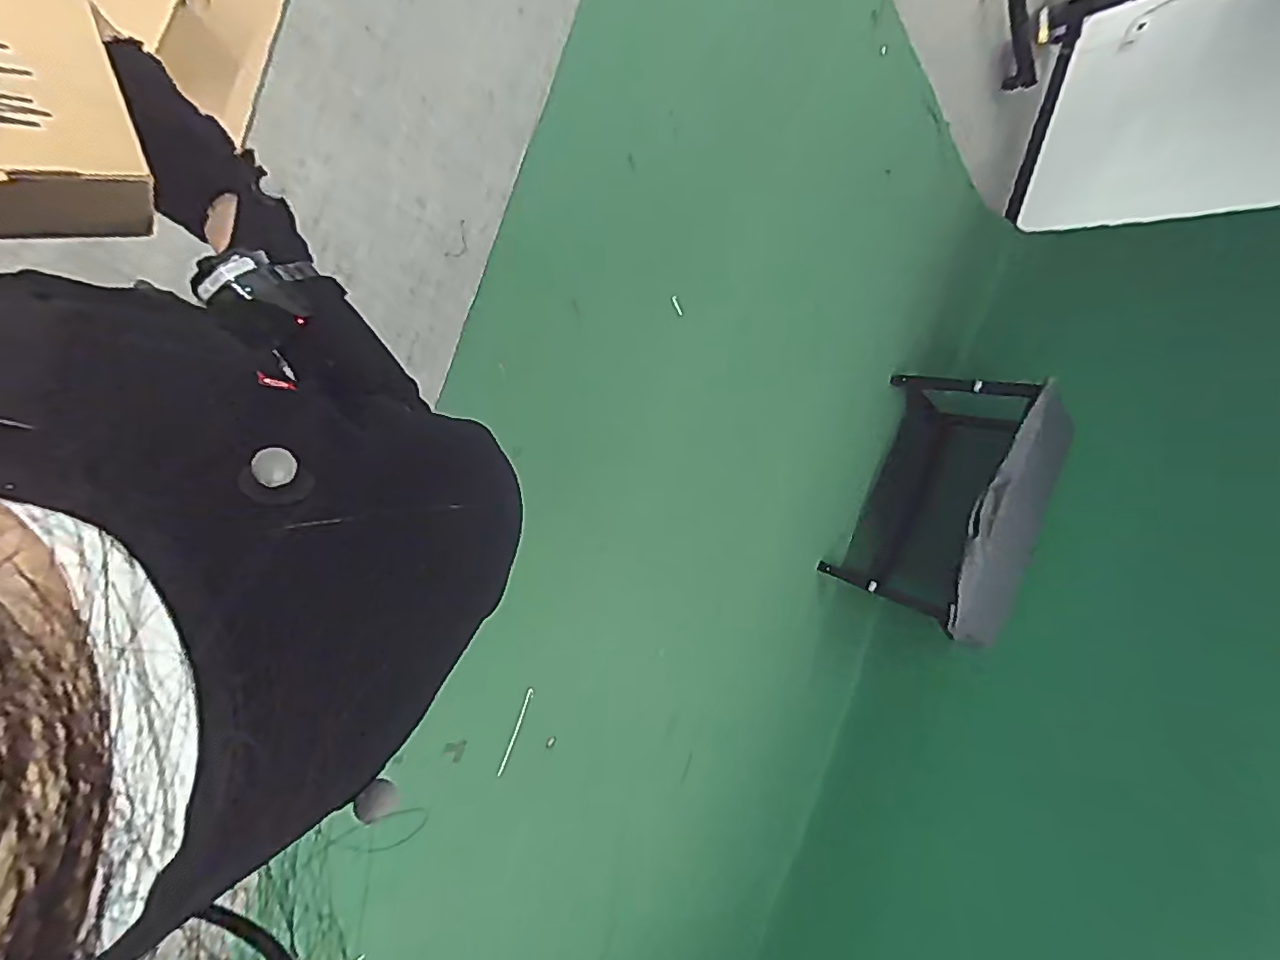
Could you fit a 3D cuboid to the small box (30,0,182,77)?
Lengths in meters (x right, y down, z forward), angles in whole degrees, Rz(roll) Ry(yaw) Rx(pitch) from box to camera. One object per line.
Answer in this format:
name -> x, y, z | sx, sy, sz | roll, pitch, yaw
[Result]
small box -> -0.889, -0.830, 0.897 | 0.168, 0.176, 0.179 | 23, 88, -41
